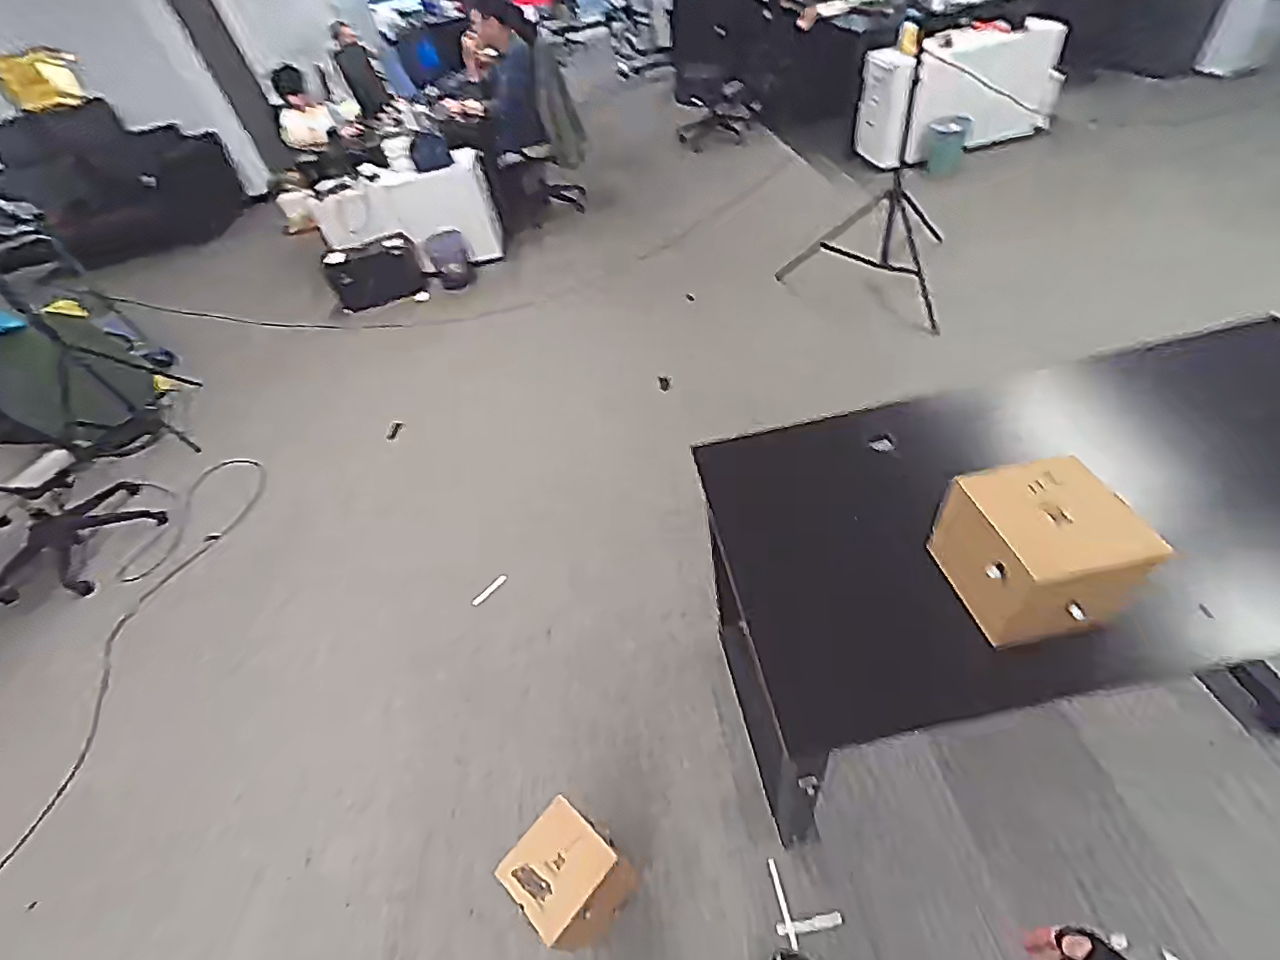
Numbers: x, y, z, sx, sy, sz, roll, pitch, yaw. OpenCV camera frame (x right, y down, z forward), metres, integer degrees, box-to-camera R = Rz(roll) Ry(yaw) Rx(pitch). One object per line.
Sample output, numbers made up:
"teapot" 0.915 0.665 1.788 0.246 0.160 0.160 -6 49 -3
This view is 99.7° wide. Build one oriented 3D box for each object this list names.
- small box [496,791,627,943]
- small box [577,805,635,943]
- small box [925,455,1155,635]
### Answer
"small box" -0.145 0.765 1.067 0.168 0.176 0.179 29 59 33
"small box" -0.126 0.869 1.195 0.168 0.176 0.179 27 58 32
"small box" 0.533 0.097 0.755 0.168 0.176 0.179 -13 45 0
